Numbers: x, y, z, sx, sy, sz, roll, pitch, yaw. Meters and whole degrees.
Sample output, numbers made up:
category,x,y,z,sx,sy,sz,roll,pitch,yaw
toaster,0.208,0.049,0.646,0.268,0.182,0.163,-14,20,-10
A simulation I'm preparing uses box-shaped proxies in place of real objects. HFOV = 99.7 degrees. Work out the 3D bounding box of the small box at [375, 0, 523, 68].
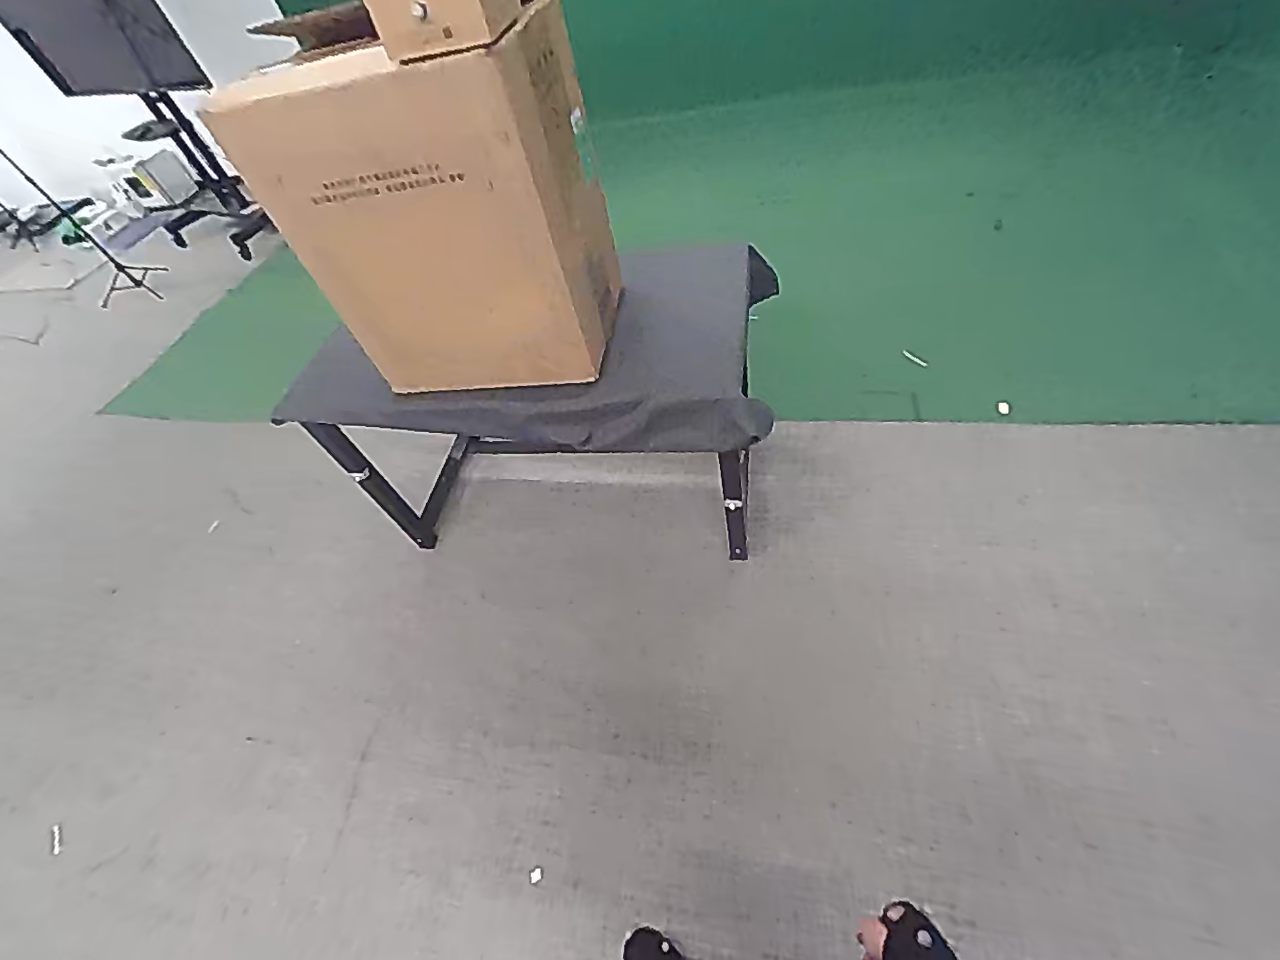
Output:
category,x,y,z,sx,sy,sz,roll,pitch,yaw
small box,-0.281,-0.723,0.774,0.168,0.176,0.179,-1,53,12
